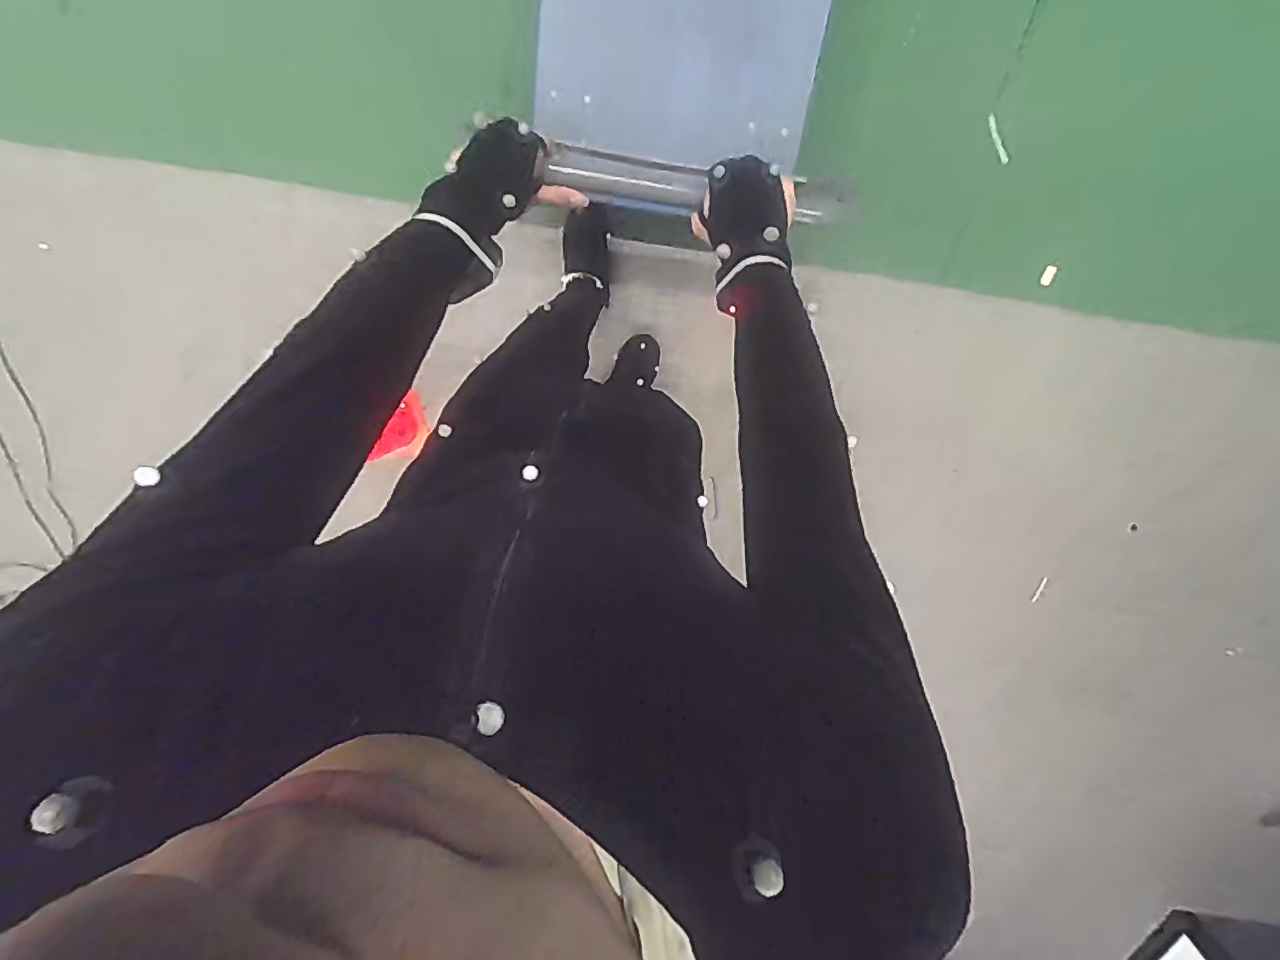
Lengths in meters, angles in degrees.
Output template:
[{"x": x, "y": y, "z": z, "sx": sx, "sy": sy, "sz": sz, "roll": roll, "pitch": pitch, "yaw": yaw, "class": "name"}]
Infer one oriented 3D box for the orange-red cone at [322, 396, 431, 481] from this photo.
[{"x": -0.734, "y": -0.082, "z": 1.441, "sx": 0.199, "sy": 0.360, "sz": 0.198, "roll": -5, "pitch": 113, "yaw": 4, "class": "orange-red cone"}]
